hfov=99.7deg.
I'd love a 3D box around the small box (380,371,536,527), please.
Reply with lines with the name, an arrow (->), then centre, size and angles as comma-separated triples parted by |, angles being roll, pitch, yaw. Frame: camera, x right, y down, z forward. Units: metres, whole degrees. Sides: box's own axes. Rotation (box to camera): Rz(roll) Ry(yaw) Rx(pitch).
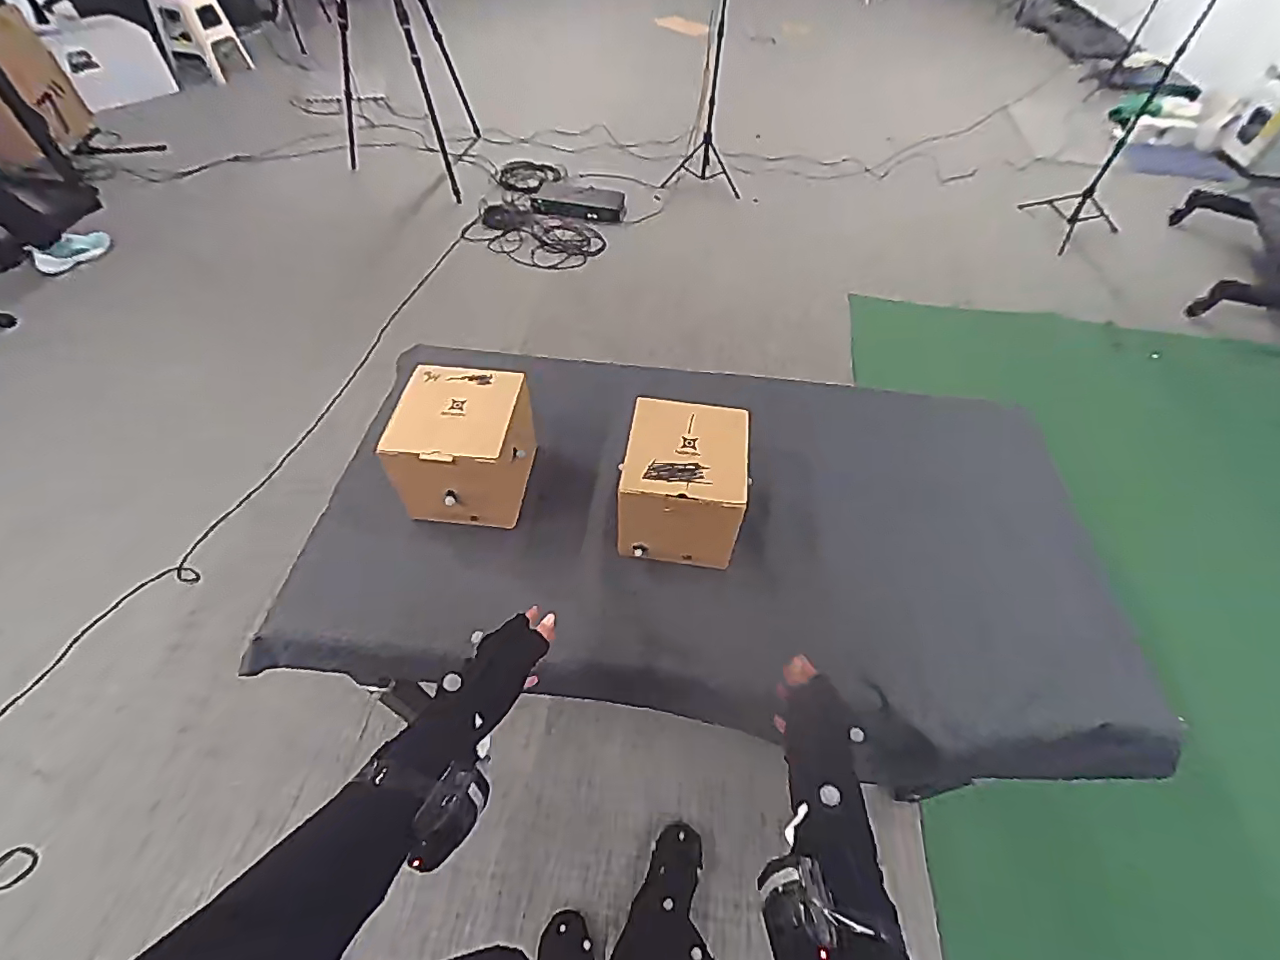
small box -> -0.265, -0.044, 0.838 | 0.168, 0.176, 0.179 | 5, 53, 2

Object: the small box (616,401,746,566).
small box -> 0.061, 0.010, 0.808 | 0.168, 0.176, 0.179 | 7, 51, 4
